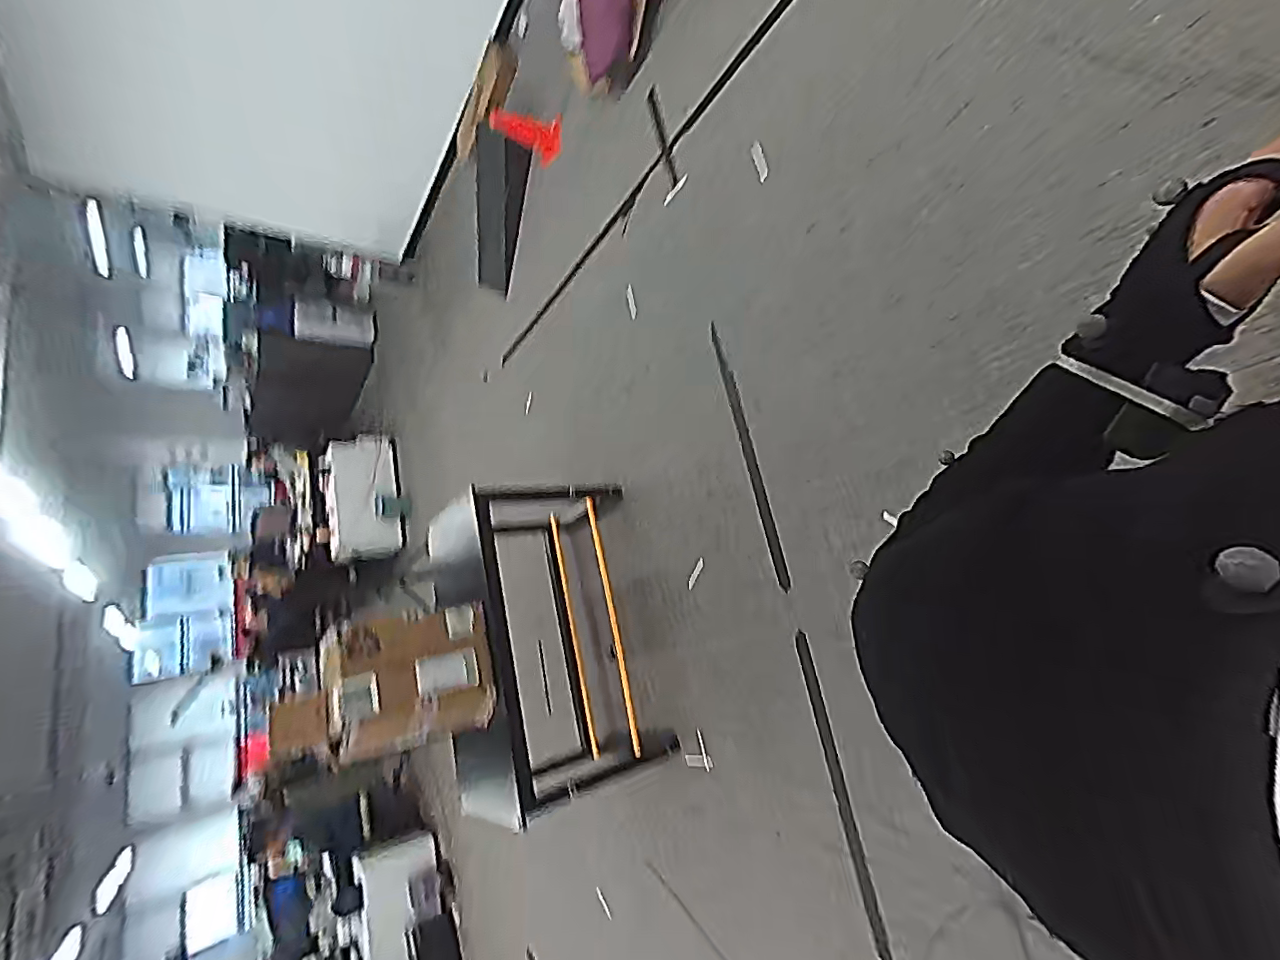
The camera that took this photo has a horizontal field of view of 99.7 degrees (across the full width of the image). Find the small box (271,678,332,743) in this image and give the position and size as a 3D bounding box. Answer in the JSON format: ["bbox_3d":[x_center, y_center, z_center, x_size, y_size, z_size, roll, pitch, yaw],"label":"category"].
[{"bbox_3d":[-1.156,0.786,1.845,0.179,0.176,0.168,-38,60,47],"label":"small box"}]
